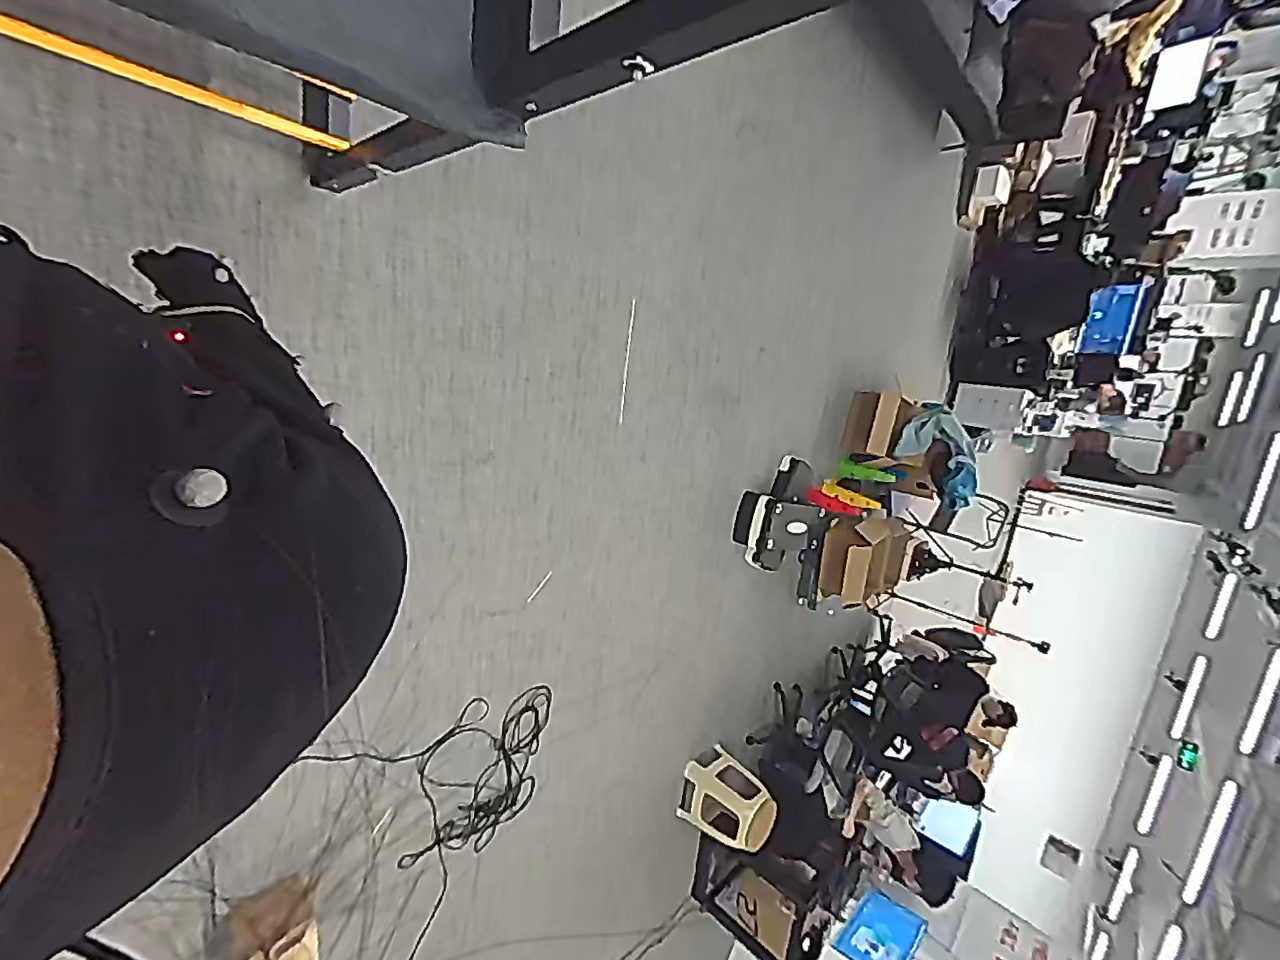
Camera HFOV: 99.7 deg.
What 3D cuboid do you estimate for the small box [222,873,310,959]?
[{"bbox_3d":[-1.032,1.236,1.489,0.168,0.176,0.179,-8,110,-47],"label":"small box"}]
